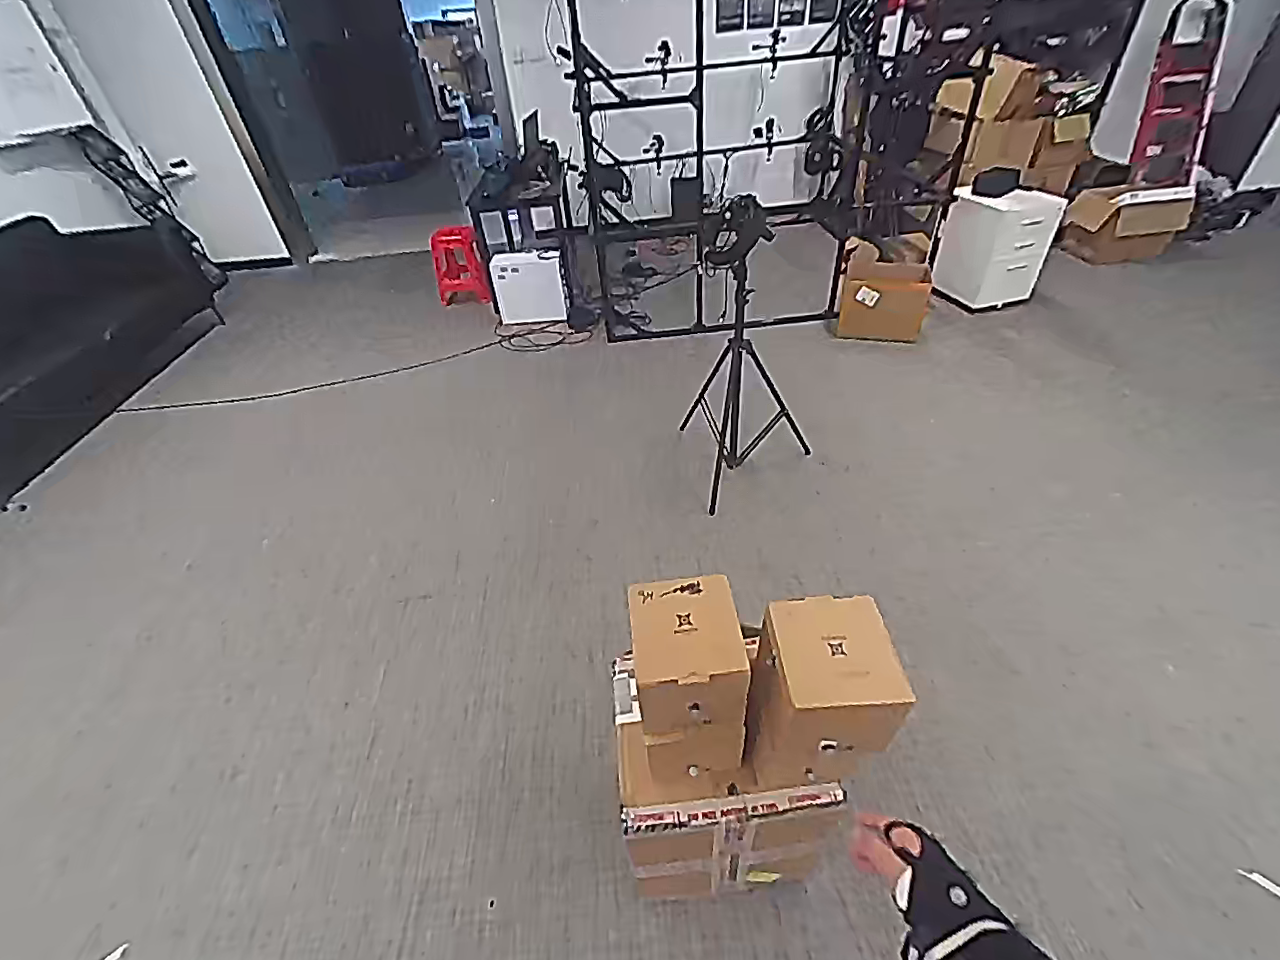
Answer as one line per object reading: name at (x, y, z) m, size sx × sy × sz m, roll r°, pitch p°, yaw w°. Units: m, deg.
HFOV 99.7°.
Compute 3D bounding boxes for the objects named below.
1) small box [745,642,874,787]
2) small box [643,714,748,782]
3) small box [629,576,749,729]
small box at (0.282, 0.413, 0.955) m, size 0.168 × 0.176 × 0.179 m, roll -5°, pitch 42°, yaw -2°
small box at (0.088, 0.413, 0.974) m, size 0.168 × 0.176 × 0.179 m, roll -8°, pitch 43°, yaw -2°
small box at (0.077, 0.283, 0.873) m, size 0.168 × 0.176 × 0.179 m, roll -7°, pitch 43°, yaw 0°
